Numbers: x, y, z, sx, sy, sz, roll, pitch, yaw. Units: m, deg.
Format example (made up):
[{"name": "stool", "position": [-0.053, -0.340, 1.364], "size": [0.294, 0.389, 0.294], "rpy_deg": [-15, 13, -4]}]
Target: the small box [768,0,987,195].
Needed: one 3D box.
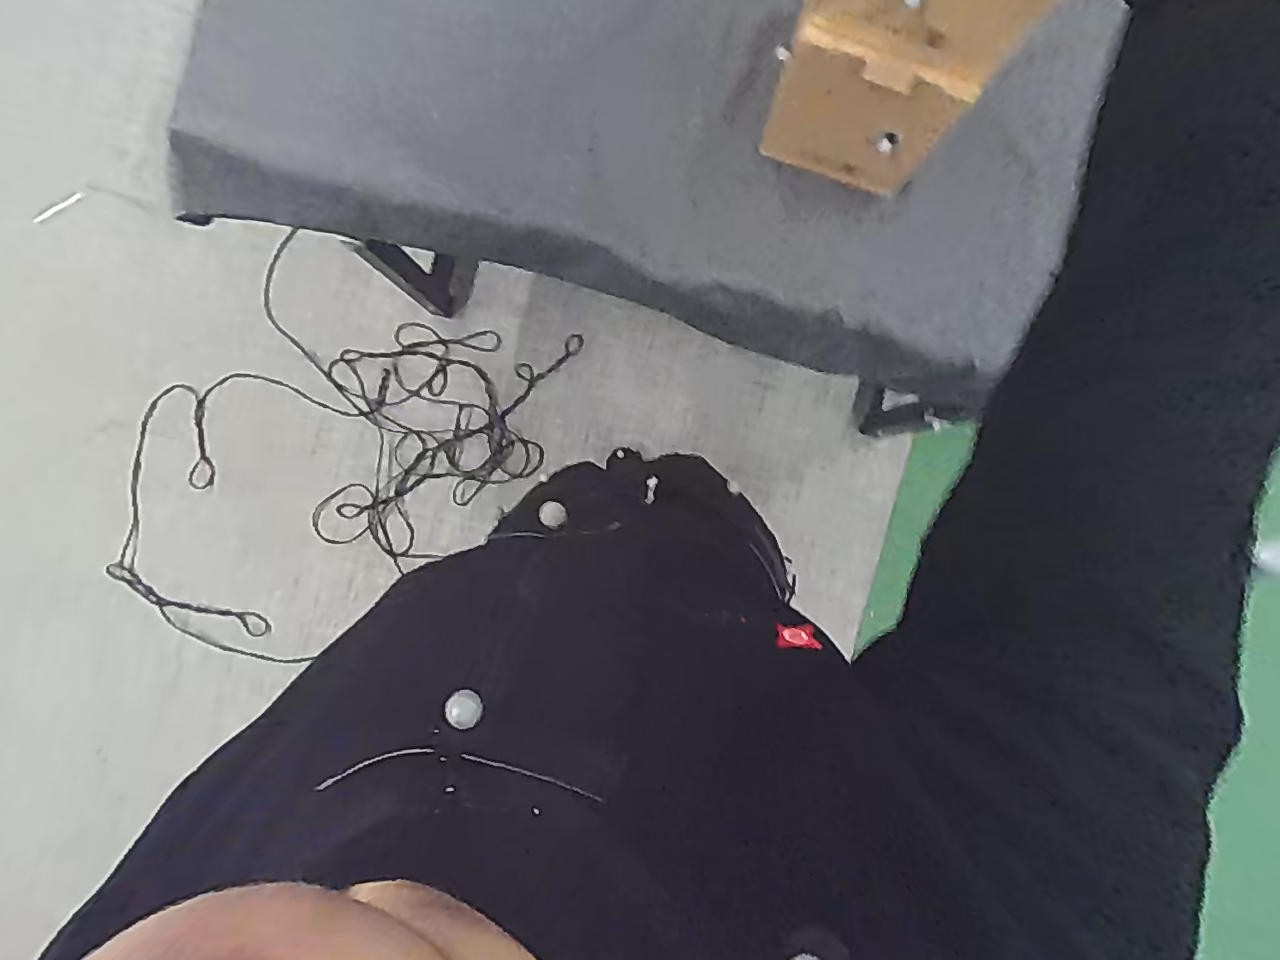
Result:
[{"name": "small box", "position": [0.245, -0.432, 0.553], "size": [0.168, 0.176, 0.179], "rpy_deg": [18, 88, -1]}]

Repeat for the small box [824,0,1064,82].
[{"name": "small box", "position": [0.256, -0.449, 0.390], "size": [0.168, 0.176, 0.179], "rpy_deg": [19, 89, -1]}]
